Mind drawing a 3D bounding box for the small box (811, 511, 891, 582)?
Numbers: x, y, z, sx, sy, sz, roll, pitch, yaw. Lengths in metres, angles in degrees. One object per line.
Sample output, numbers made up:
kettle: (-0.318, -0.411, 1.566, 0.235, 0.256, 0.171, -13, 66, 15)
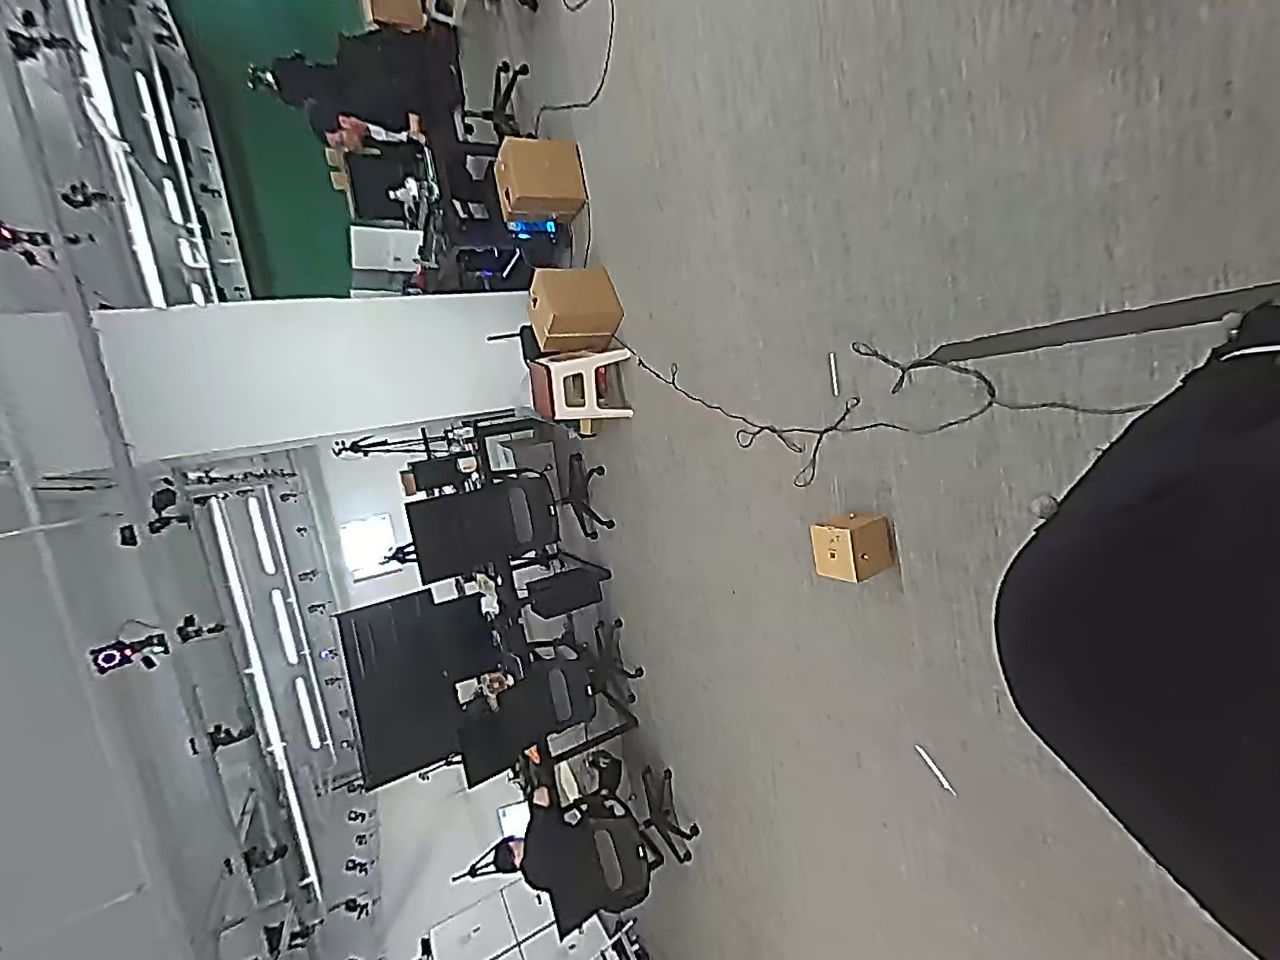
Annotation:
small box: (0.686, 0.209, 1.748, 0.168, 0.176, 0.179, 3, 106, 62)
